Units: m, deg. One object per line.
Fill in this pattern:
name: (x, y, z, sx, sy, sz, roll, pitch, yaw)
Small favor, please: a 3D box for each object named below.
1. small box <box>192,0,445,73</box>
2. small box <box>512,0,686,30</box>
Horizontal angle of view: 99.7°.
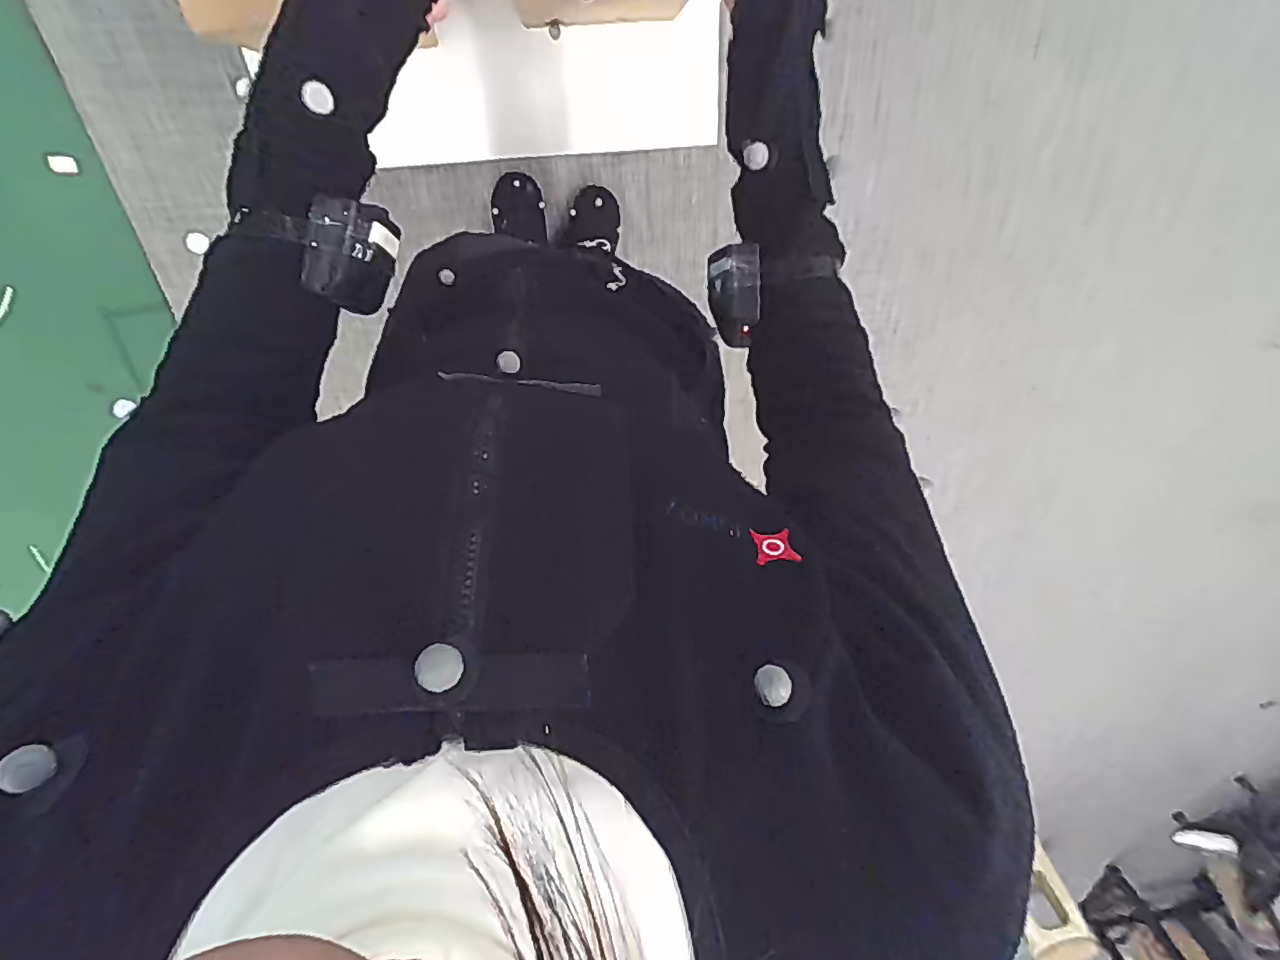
small box: (-0.289, -0.481, 0.473, 0.168, 0.176, 0.179, -8, 123, 0)
small box: (-0.037, -0.519, 0.473, 0.168, 0.176, 0.179, -6, 121, -2)
